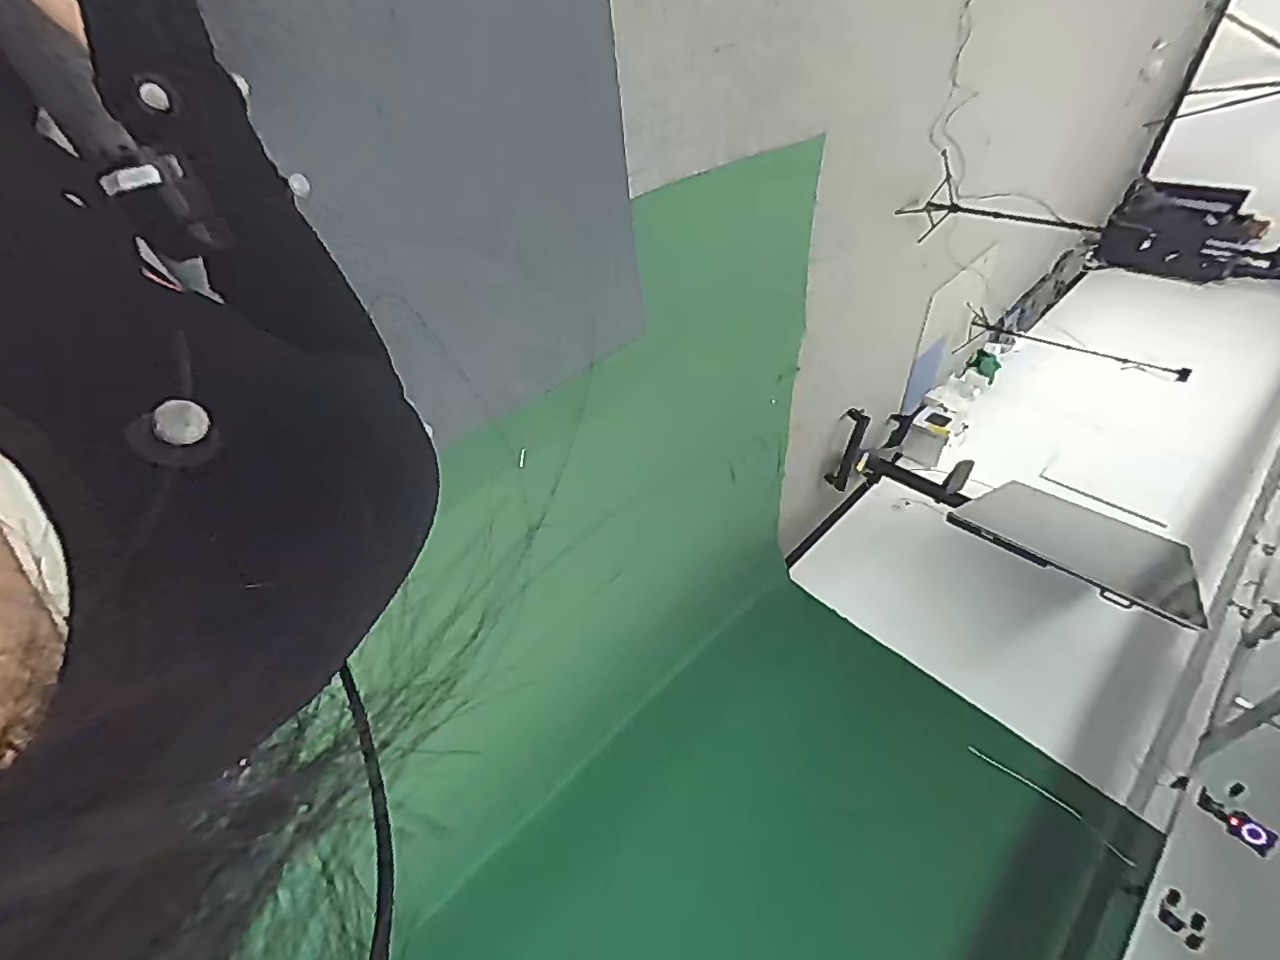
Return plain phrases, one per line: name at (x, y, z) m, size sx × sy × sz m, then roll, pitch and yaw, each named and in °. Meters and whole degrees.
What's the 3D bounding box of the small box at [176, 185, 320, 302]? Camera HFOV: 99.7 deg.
small box at (-0.796, -0.489, 1.100) m, size 0.168 × 0.176 × 0.179 m, roll -32°, pitch 139°, yaw -30°
